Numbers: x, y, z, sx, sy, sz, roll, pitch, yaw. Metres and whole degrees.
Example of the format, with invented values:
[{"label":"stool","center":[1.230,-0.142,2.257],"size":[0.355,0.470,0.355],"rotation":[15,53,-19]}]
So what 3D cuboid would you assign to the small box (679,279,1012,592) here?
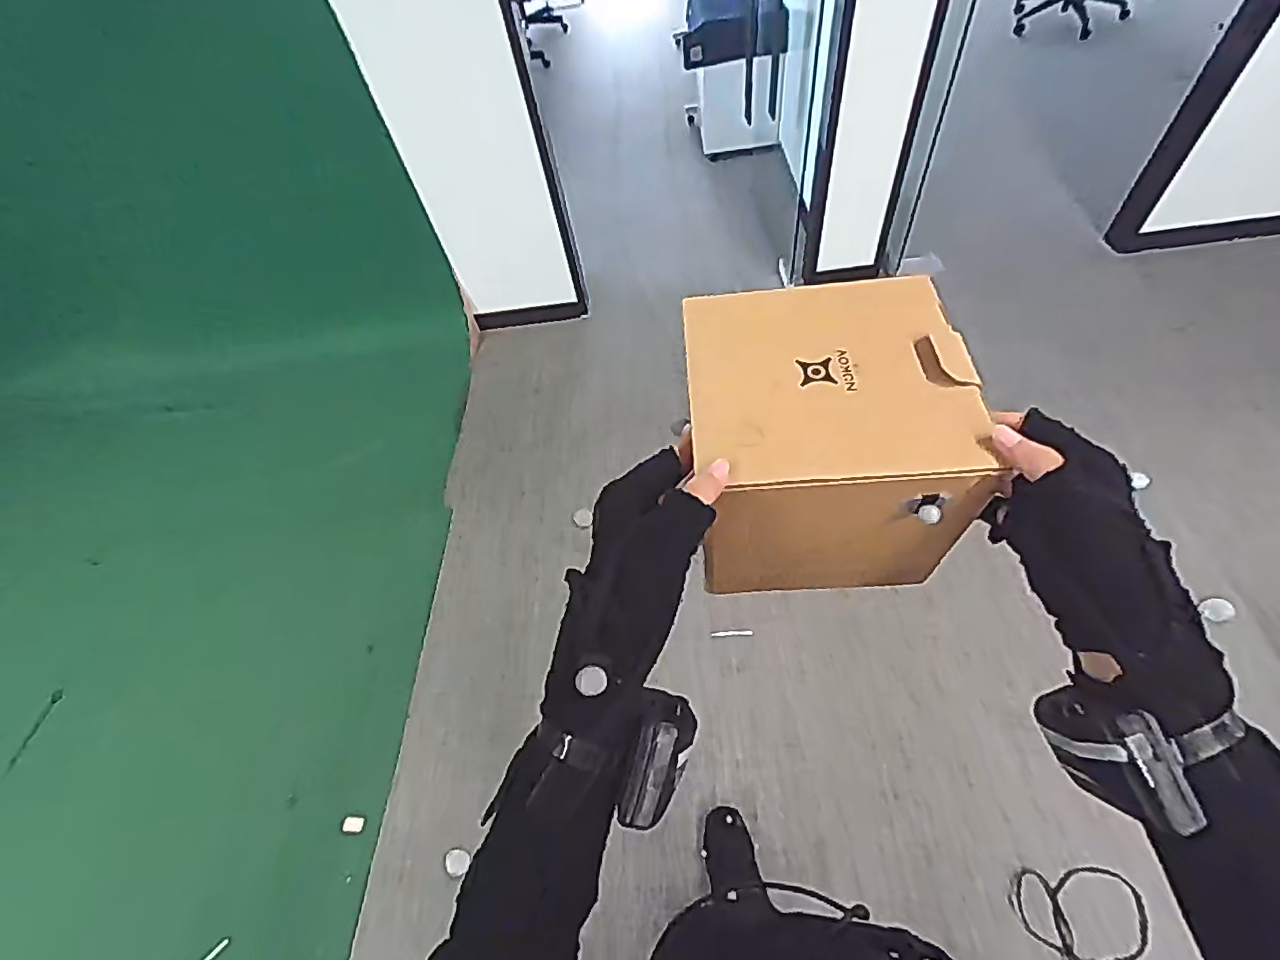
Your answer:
[{"label":"small box","center":[0.125,-0.023,0.408],"size":[0.179,0.176,0.168],"rotation":[-4,57,5]}]
